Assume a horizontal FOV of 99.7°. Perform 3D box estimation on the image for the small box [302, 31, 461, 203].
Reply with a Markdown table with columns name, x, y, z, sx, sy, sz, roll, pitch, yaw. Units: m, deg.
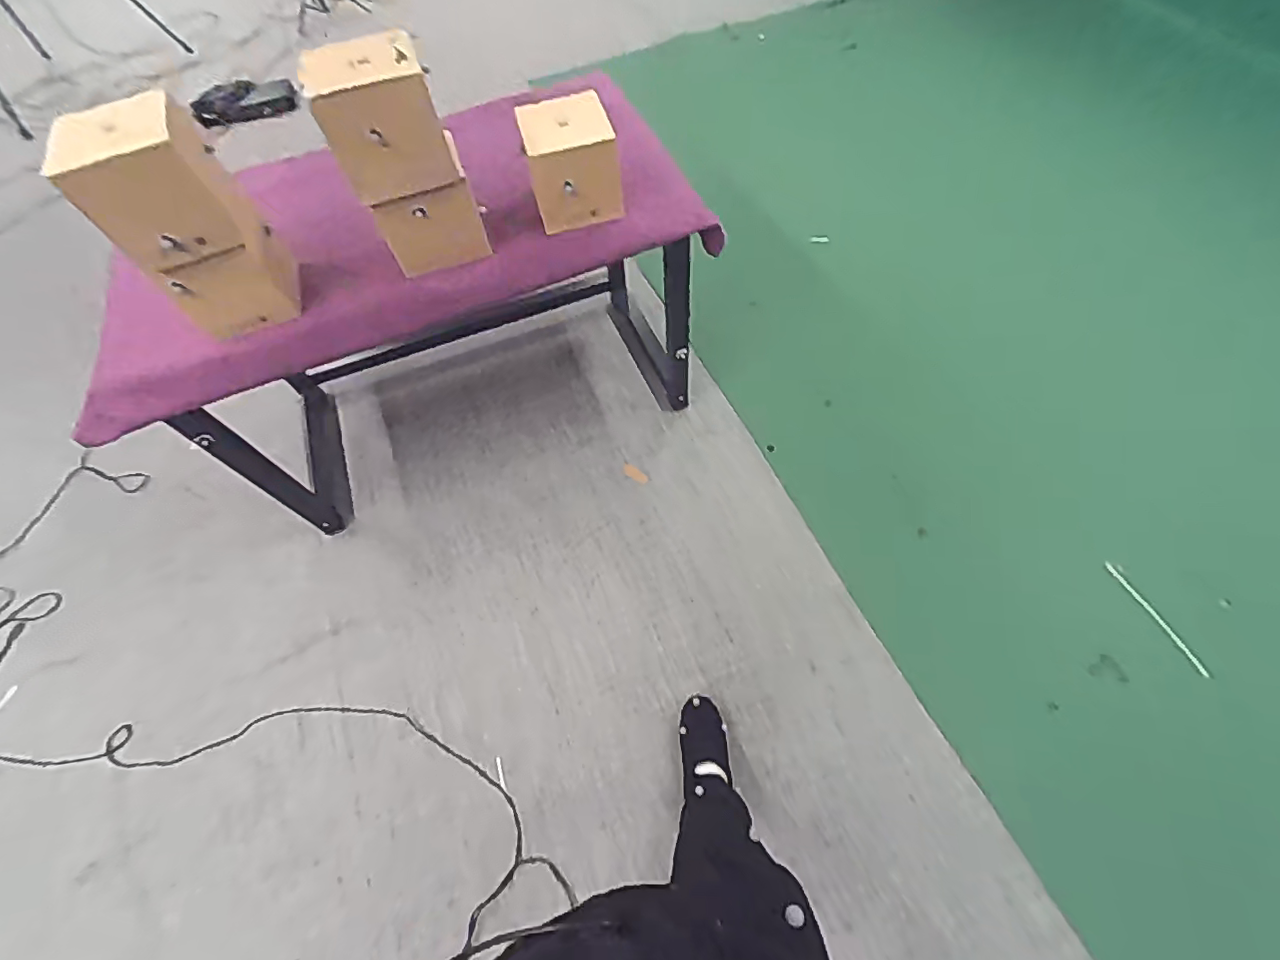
| name | x | y | z | sx | sy | sz | roll | pitch | yaw |
| --- | --- | --- | --- | --- | --- | --- | --- | --- | --- |
| small box | -0.422 | -0.592 | 0.895 | 0.179 | 0.176 | 0.168 | -20 | 61 | -6 |

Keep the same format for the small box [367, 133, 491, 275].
| name | x | y | z | sx | sy | sz | roll | pitch | yaw |
| --- | --- | --- | --- | --- | --- | --- | --- | --- | --- |
| small box | -0.409 | -0.526 | 1.045 | 0.179 | 0.176 | 0.168 | -18 | 61 | -7 |

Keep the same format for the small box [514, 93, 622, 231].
| name | x | y | z | sx | sy | sz | roll | pitch | yaw |
| --- | --- | --- | --- | --- | --- | --- | --- | --- | --- |
| small box | -0.138 | -0.626 | 1.084 | 0.168 | 0.176 | 0.179 | -16 | 61 | -4 |

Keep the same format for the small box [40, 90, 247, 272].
| name | x | y | z | sx | sy | sz | roll | pitch | yaw |
| --- | --- | --- | --- | --- | --- | --- | --- | --- | --- |
| small box | -0.755 | -0.461 | 0.843 | 0.168 | 0.176 | 0.179 | -24 | 61 | -9 |
